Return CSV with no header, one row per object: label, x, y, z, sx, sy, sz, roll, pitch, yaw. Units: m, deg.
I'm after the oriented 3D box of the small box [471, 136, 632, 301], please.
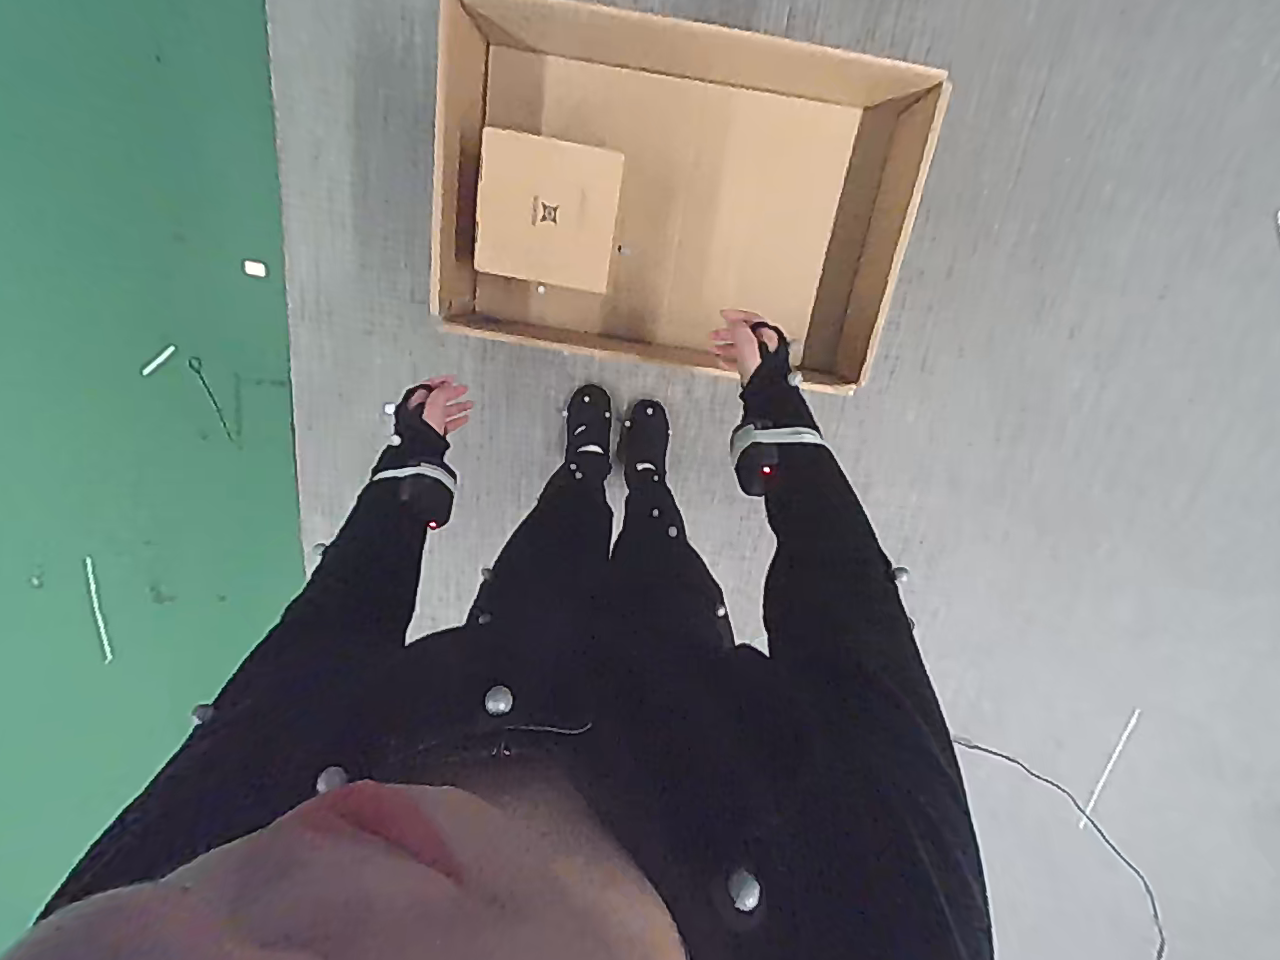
small box,-0.115,-0.348,0.752,0.179,0.176,0.168,11,109,-1
